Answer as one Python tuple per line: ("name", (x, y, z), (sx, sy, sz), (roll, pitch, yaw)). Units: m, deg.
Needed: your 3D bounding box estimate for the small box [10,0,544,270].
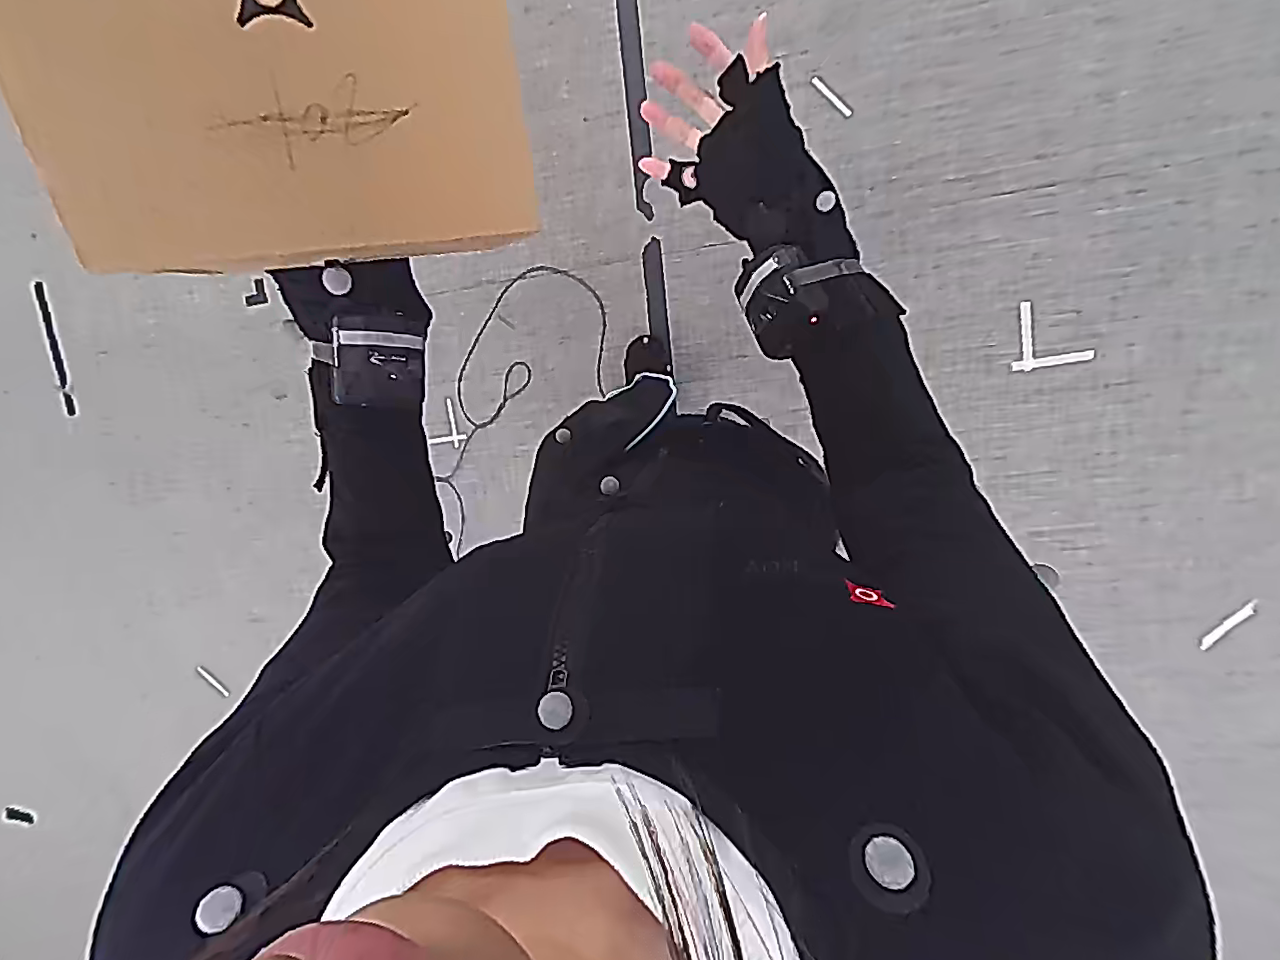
("small box", (-0.156, -0.204, 0.264), (0.168, 0.176, 0.179), (-14, 114, -18))
